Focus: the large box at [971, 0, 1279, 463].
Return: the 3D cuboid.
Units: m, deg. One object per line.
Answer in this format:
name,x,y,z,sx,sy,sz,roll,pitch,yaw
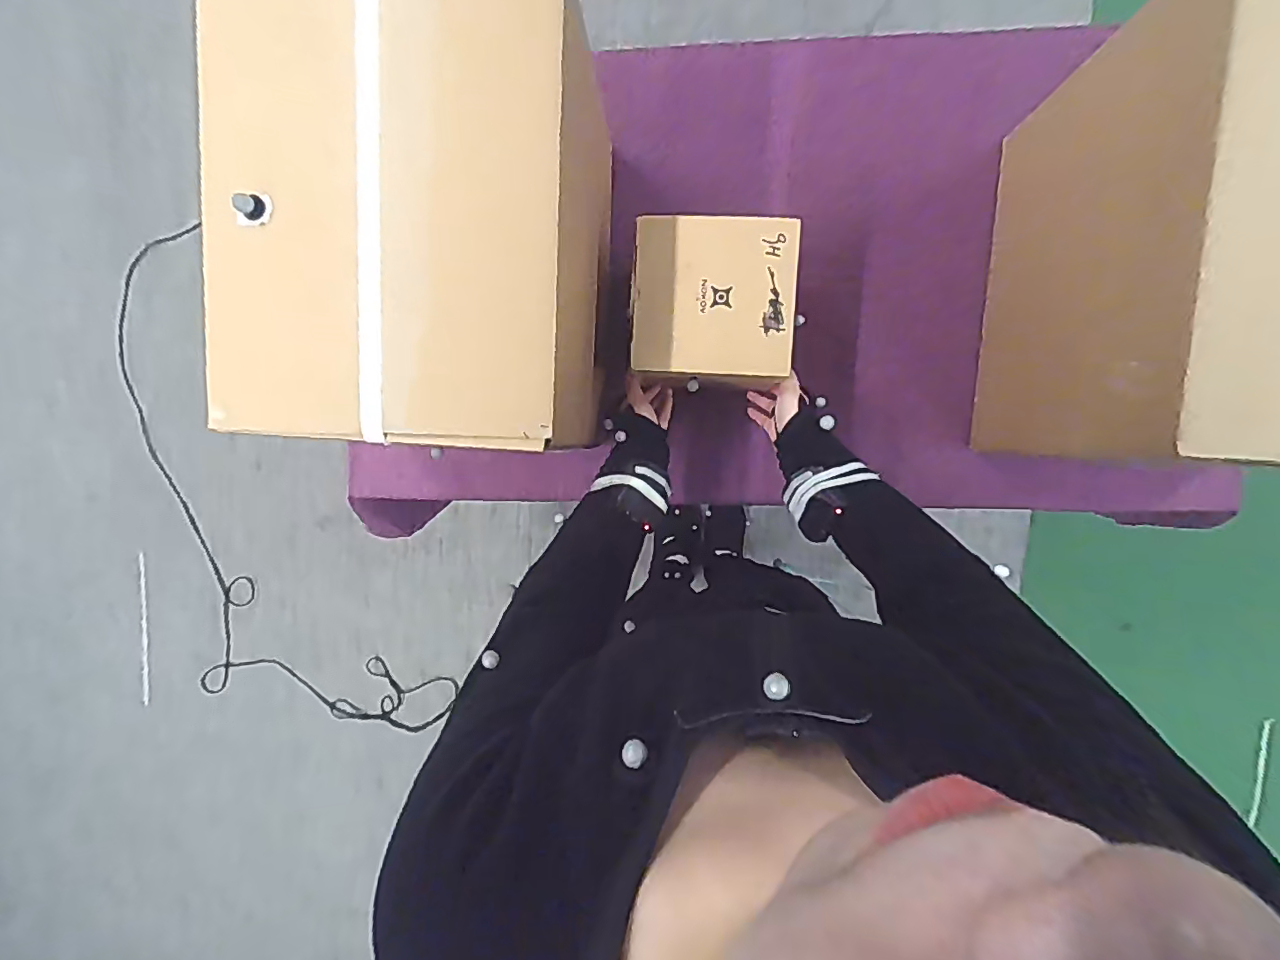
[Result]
large box,0.592,-0.225,0.554,0.320,0.320,0.408,4,95,4
